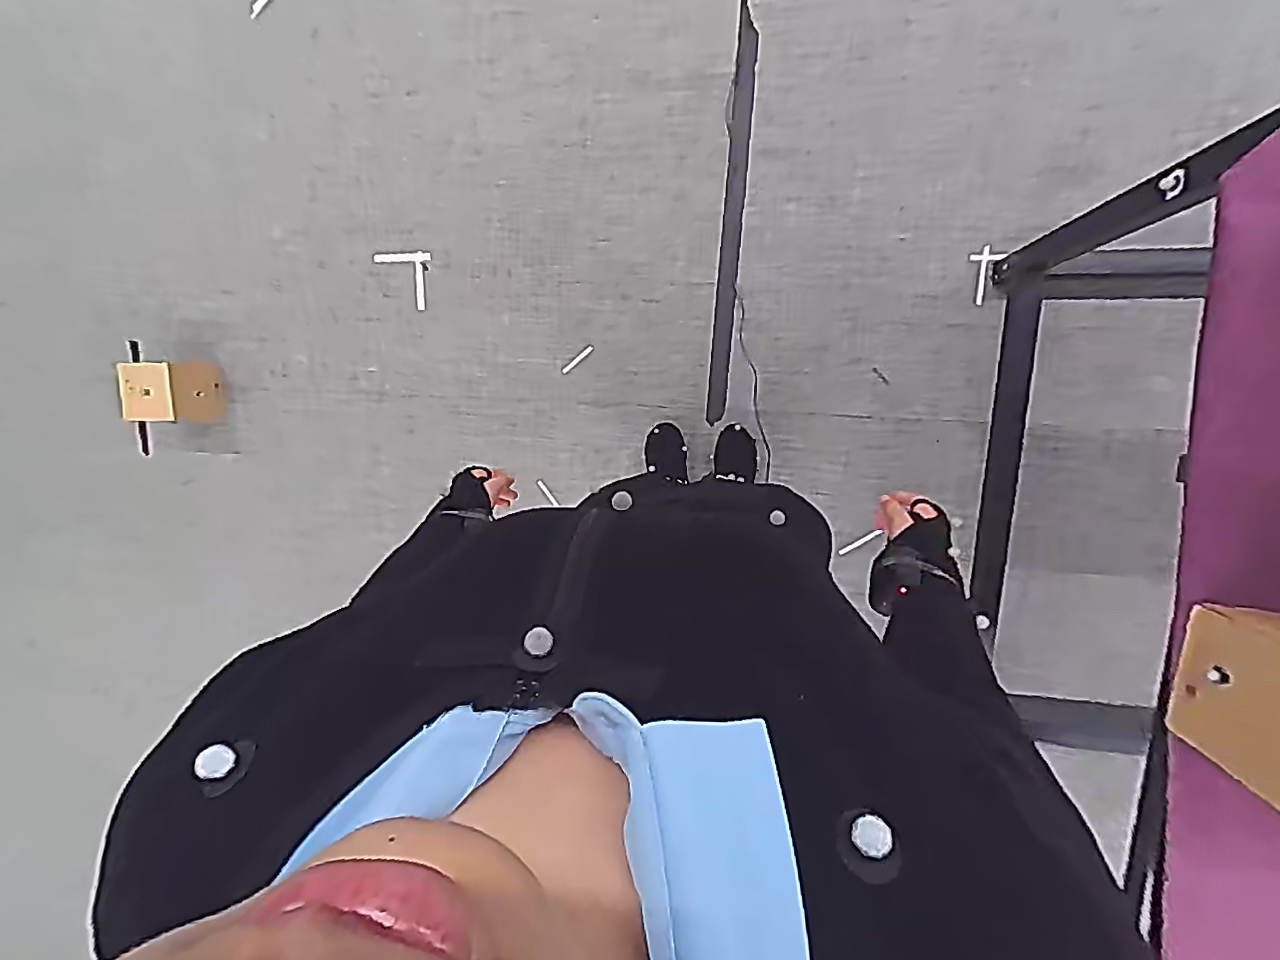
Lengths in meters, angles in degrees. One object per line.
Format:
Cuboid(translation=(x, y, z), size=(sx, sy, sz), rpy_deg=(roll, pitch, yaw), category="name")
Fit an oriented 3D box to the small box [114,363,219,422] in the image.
Cuboid(translation=(-1.395, -0.260, 1.608), size=(0.179, 0.176, 0.168), rpy_deg=(2, 98, 9), category="small box")
